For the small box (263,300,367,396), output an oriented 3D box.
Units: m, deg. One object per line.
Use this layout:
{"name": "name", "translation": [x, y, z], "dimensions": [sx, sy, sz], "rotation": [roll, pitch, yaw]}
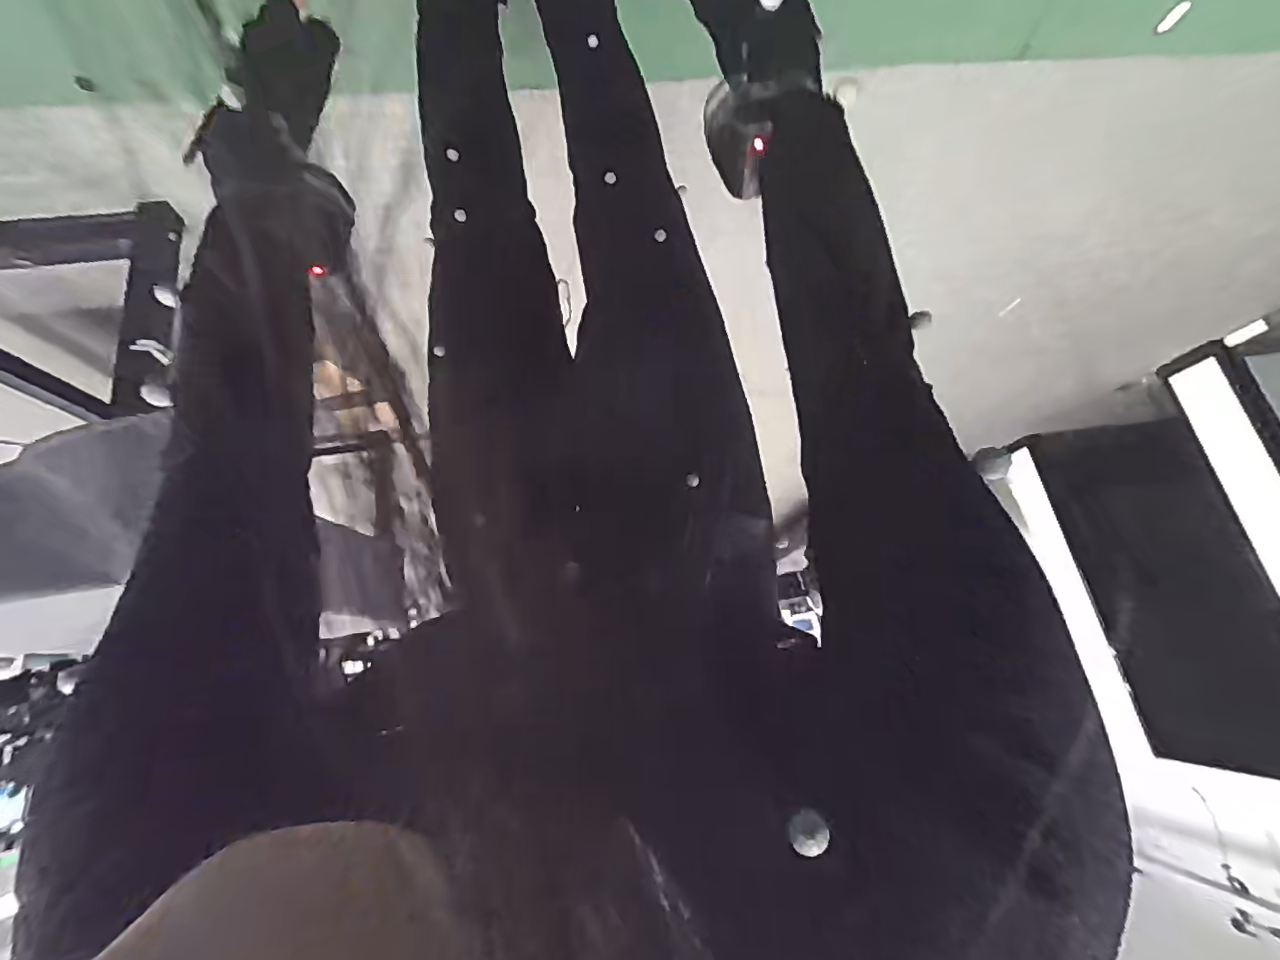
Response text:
{"name": "small box", "translation": [-0.841, -0.342, 1.413], "dimensions": [0.179, 0.176, 0.168], "rotation": [-11, 165, 5]}
